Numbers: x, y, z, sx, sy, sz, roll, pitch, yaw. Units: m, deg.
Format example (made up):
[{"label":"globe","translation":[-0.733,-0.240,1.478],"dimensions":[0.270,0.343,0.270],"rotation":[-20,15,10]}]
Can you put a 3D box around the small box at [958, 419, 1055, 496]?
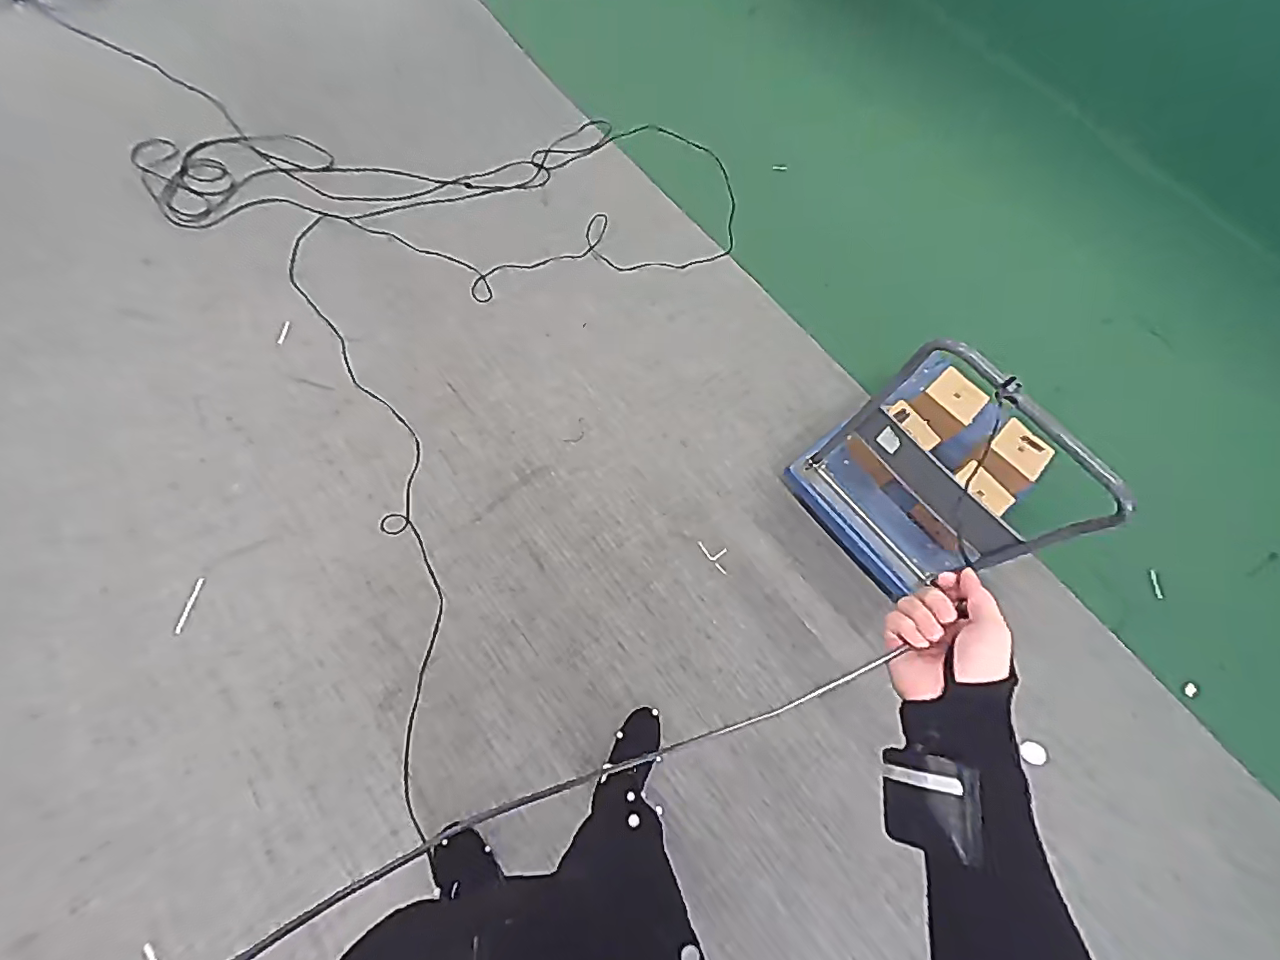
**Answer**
[{"label":"small box","translation":[1.179,-0.059,1.753],"dimensions":[0.179,0.176,0.168],"rotation":[-38,76,-24]}]

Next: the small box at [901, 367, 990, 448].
[{"label":"small box","translation":[1.009,-0.237,1.806],"dimensions":[0.179,0.176,0.168],"rotation":[-37,77,-25]}]

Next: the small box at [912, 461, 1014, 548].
[{"label":"small box","translation":[0.973,0.078,1.644],"dimensions":[0.179,0.176,0.168],"rotation":[-33,75,-23]}]
